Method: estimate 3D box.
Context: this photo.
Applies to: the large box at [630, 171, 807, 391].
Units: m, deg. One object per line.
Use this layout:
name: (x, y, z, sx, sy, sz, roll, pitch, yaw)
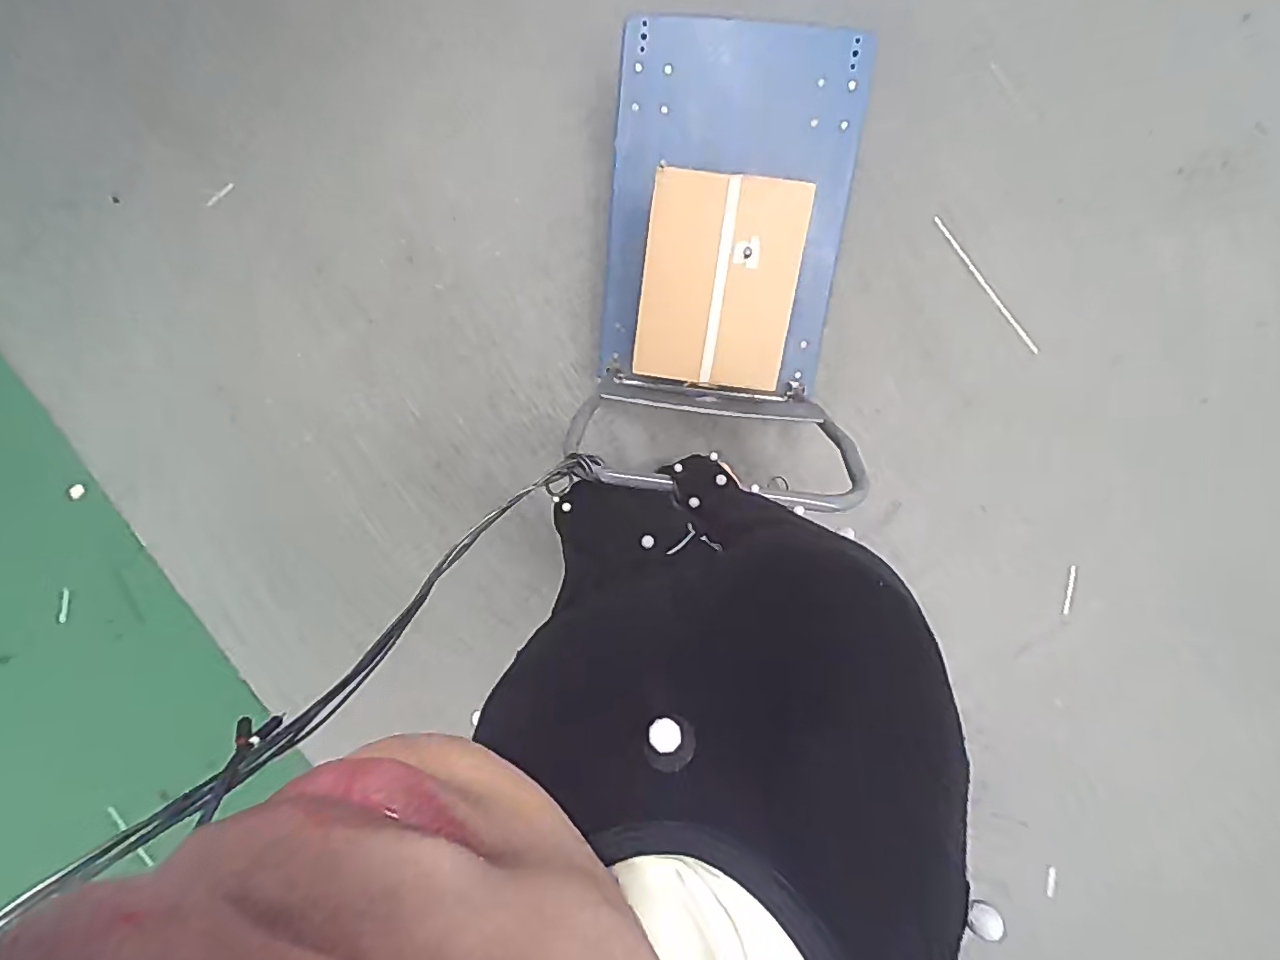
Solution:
large box: (0.166, -0.439, 1.255, 0.320, 0.320, 0.408, 9, 106, 2)
